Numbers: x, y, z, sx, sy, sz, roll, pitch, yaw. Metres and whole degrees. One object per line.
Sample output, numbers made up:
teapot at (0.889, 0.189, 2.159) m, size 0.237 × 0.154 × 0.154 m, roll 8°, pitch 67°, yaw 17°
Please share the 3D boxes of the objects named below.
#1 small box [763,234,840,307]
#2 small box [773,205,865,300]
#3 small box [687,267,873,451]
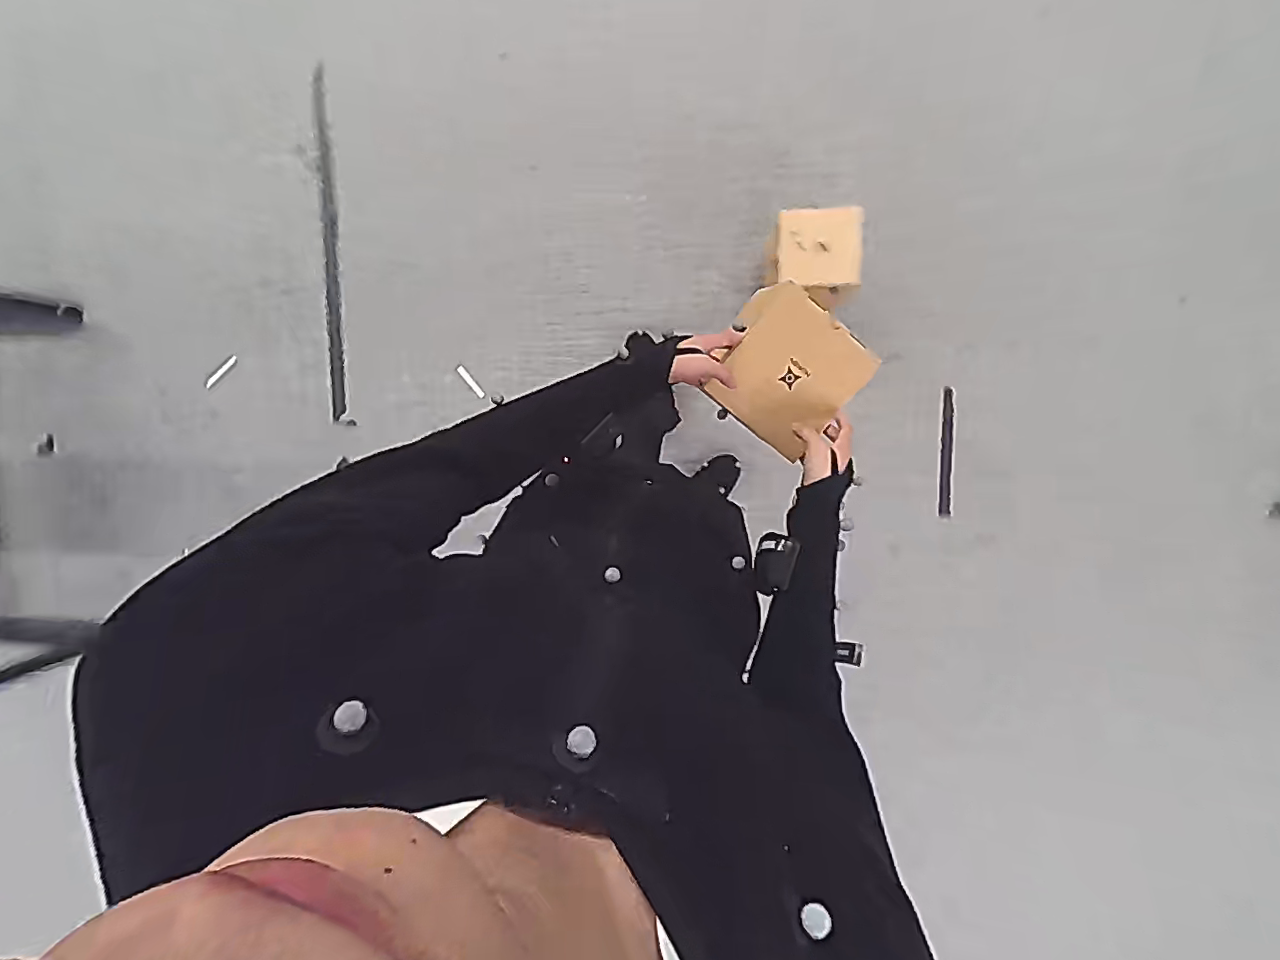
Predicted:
small box at (0.420, -0.537, 1.422) m, size 0.179 × 0.176 × 0.168 m, roll 1°, pitch 95°, yaw 7°
small box at (0.408, -0.521, 1.259) m, size 0.179 × 0.176 × 0.168 m, roll 1°, pitch 95°, yaw 8°
small box at (0.182, -0.168, 0.768) m, size 0.168 × 0.176 × 0.179 m, roll 36°, pitch 99°, yaw -10°
